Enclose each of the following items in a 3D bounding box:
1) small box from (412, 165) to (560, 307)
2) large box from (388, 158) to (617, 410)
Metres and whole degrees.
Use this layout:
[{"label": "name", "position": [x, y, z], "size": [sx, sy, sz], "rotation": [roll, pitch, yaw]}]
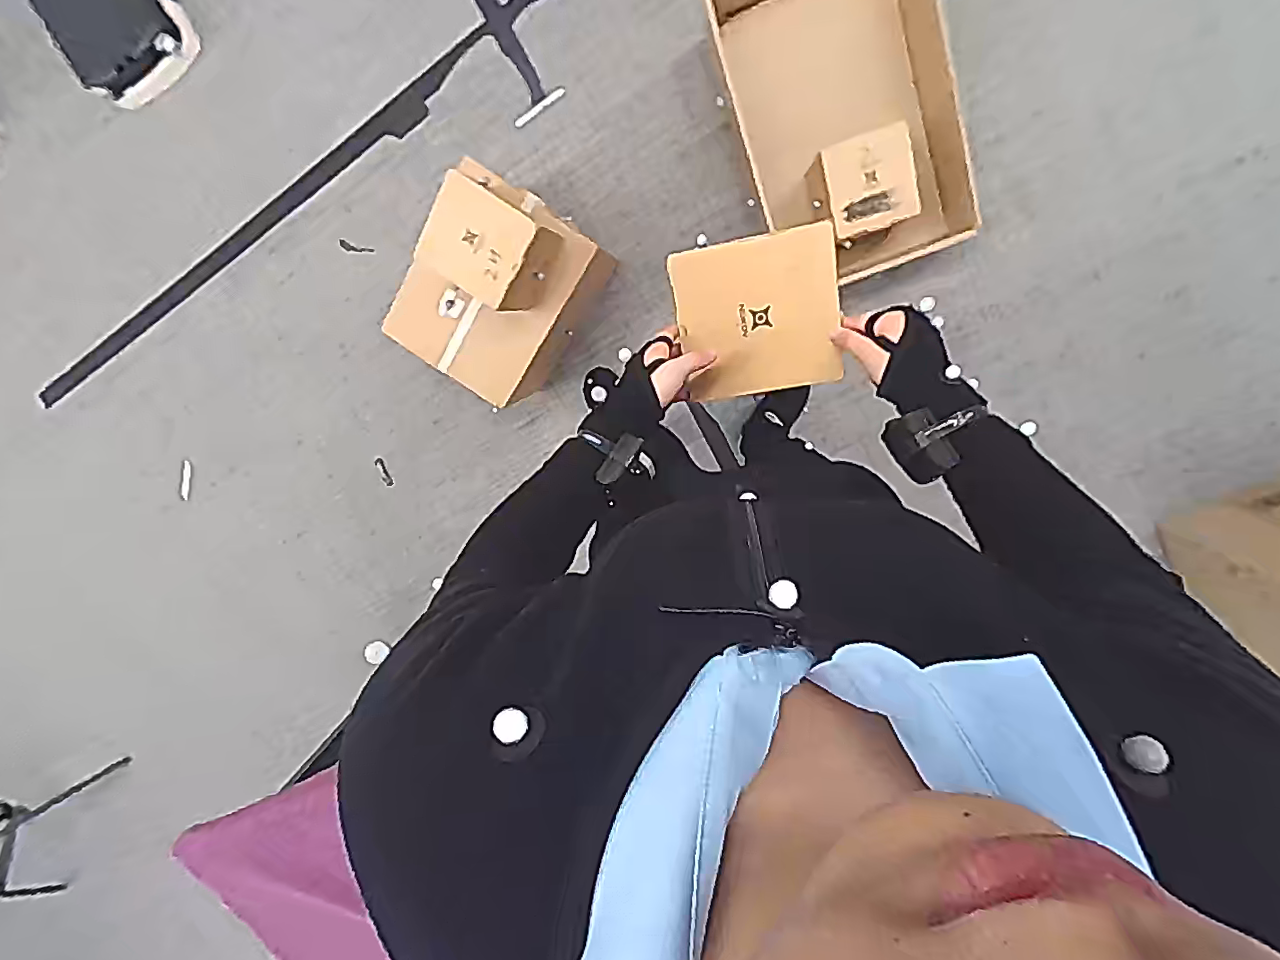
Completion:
[{"label": "small box", "position": [-0.273, -0.433, 0.993], "size": [0.179, 0.176, 0.168], "rotation": [32, 109, -4]}, {"label": "large box", "position": [-0.298, -0.435, 1.254], "size": [0.320, 0.320, 0.408], "rotation": [34, 109, -3]}]
